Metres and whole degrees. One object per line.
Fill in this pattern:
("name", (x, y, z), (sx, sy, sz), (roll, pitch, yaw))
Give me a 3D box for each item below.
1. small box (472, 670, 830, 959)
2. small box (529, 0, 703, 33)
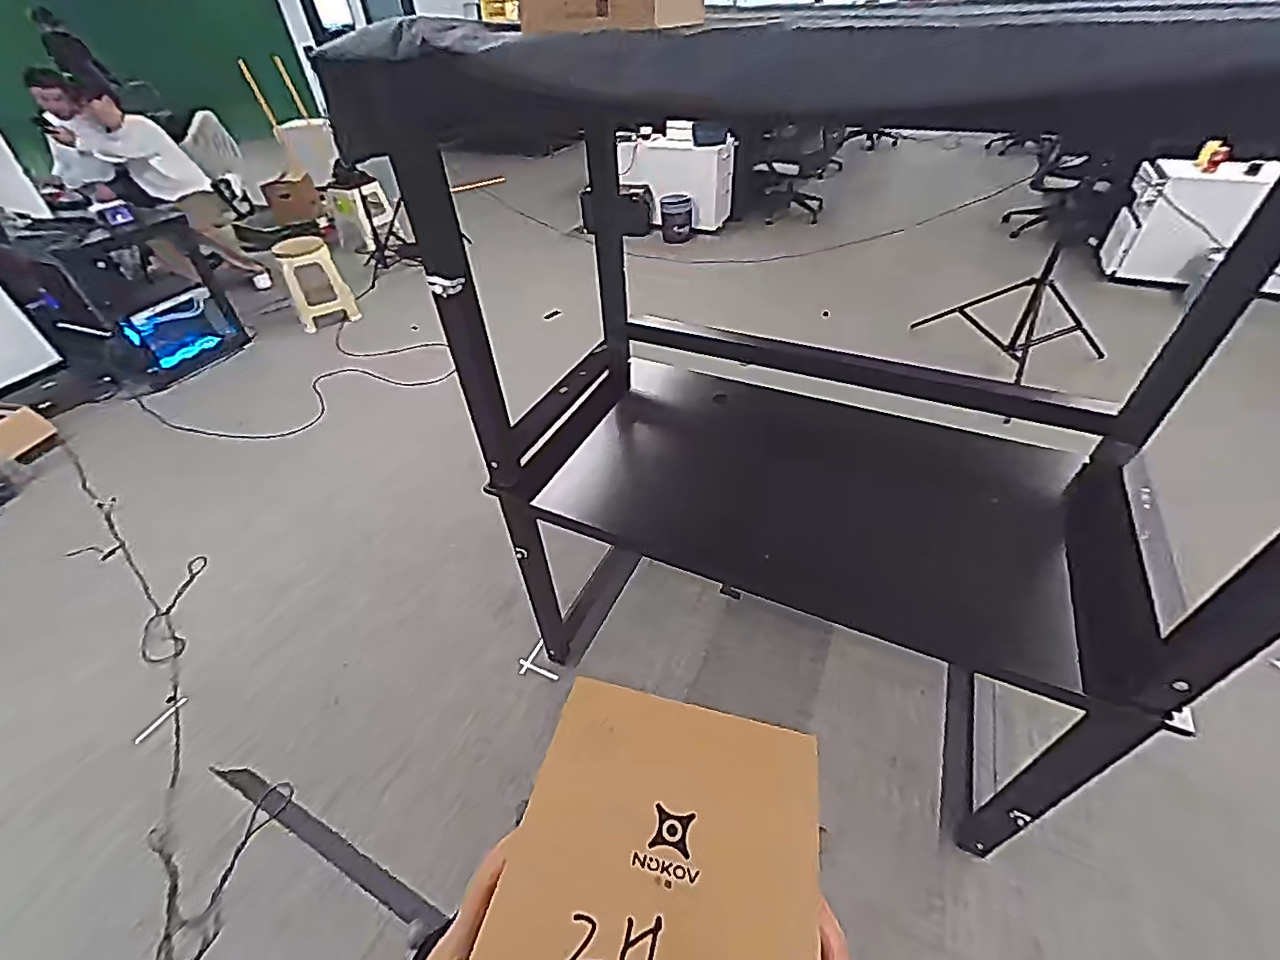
("small box", (0.014, 0.259, 0.342), (0.168, 0.176, 0.179), (11, 38, 9))
("small box", (-0.025, -0.602, 0.591), (0.168, 0.176, 0.179), (14, 44, 17))
